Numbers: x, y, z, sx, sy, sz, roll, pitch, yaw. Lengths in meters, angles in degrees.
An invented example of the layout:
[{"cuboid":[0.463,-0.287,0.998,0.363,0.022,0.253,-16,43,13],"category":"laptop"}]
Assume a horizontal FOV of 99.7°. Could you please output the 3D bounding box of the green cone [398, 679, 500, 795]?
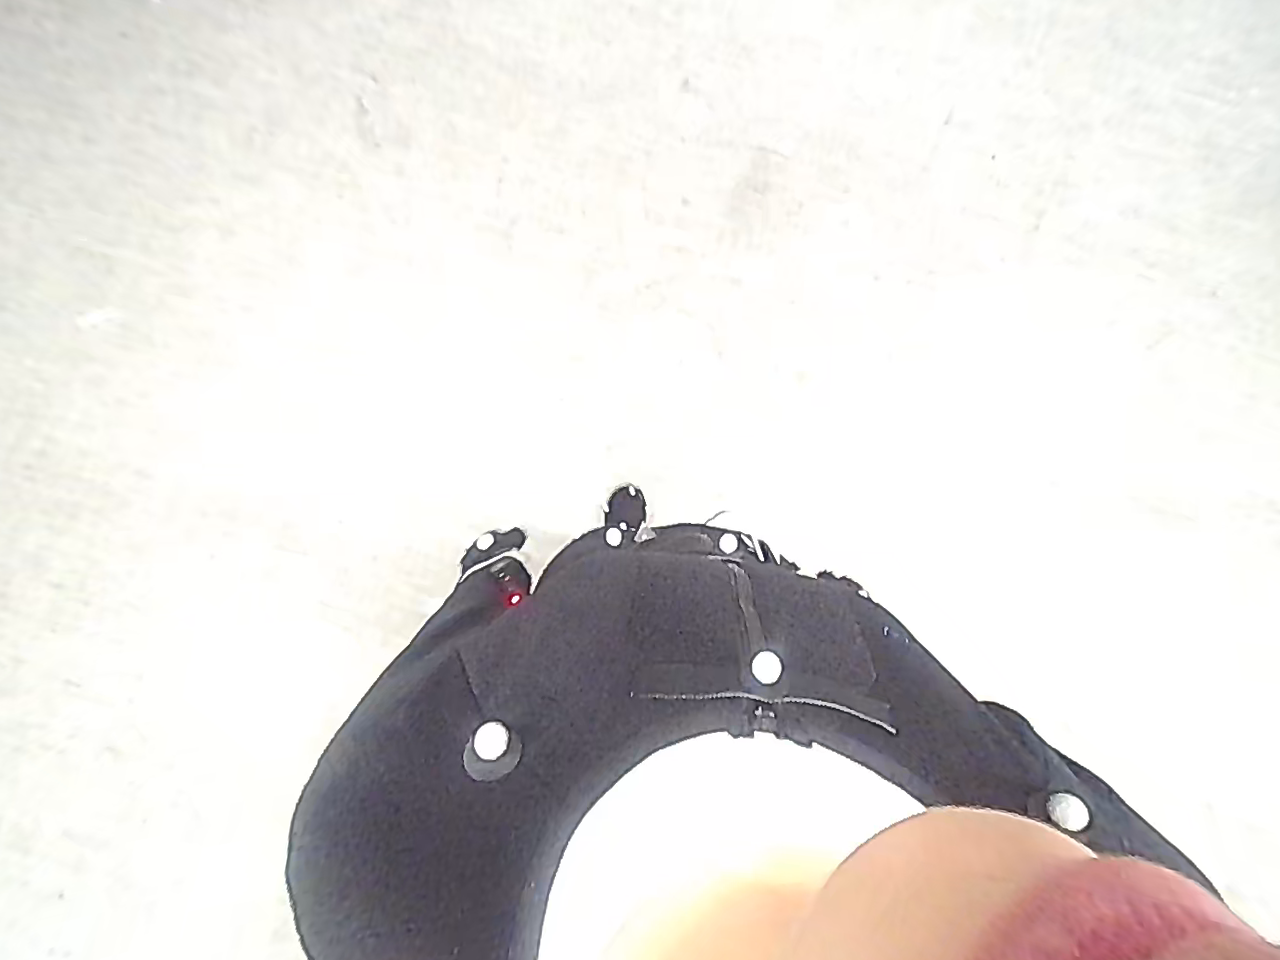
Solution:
[{"cuboid":[-0.470,0.617,1.233,0.202,0.368,0.200,14,84,-2],"category":"green cone"}]
